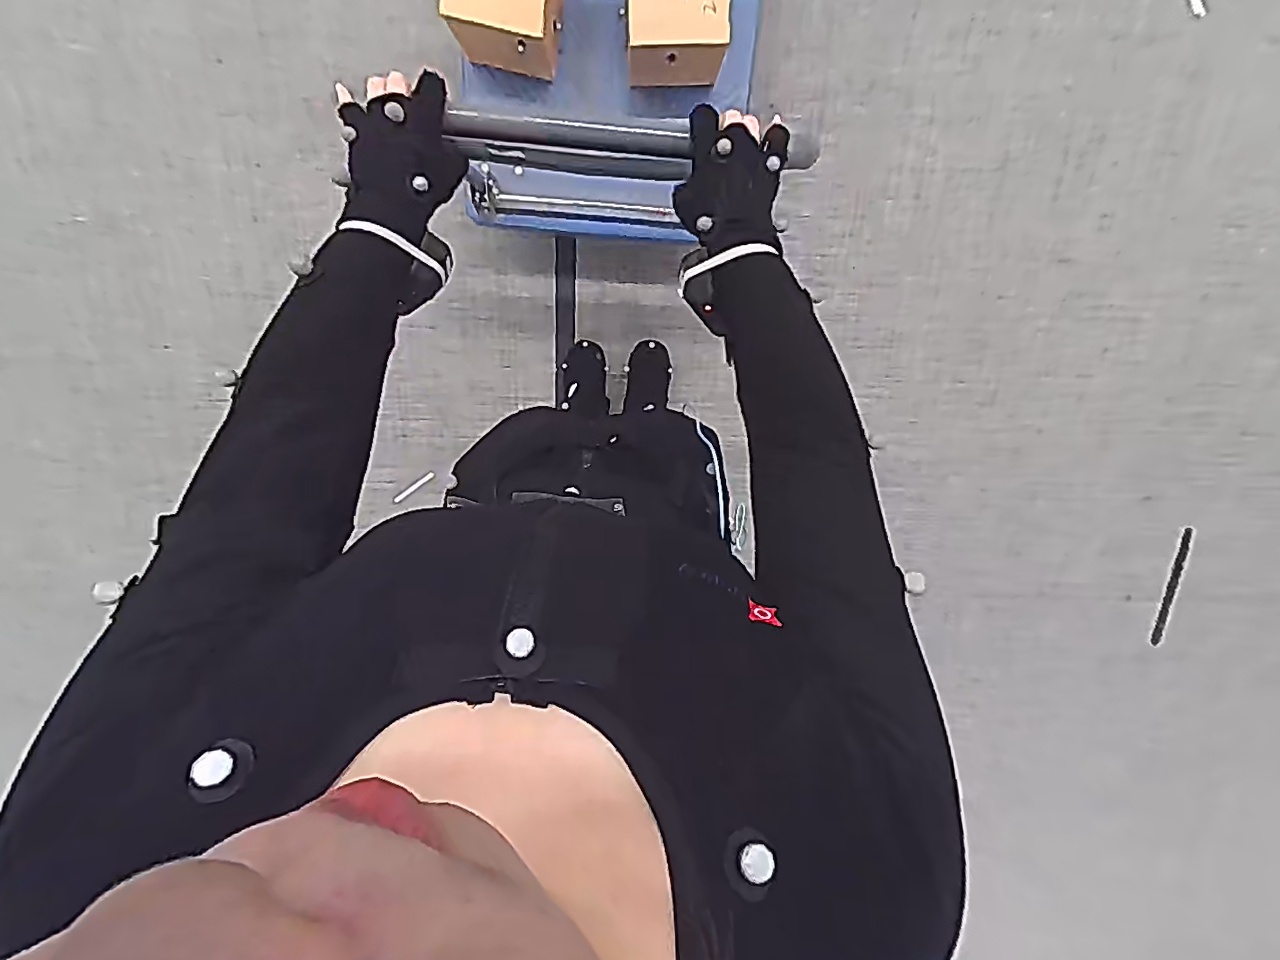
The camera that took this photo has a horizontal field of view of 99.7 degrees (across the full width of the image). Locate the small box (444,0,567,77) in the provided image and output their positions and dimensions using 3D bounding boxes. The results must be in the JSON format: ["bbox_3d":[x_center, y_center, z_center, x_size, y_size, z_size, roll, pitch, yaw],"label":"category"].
[{"bbox_3d":[-0.236,-0.869,0.976,0.179,0.176,0.168,9,106,-6],"label":"small box"}]

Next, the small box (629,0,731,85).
[{"bbox_3d":[0.067,-0.851,0.989,0.179,0.176,0.168,-2,107,-1],"label":"small box"}]
